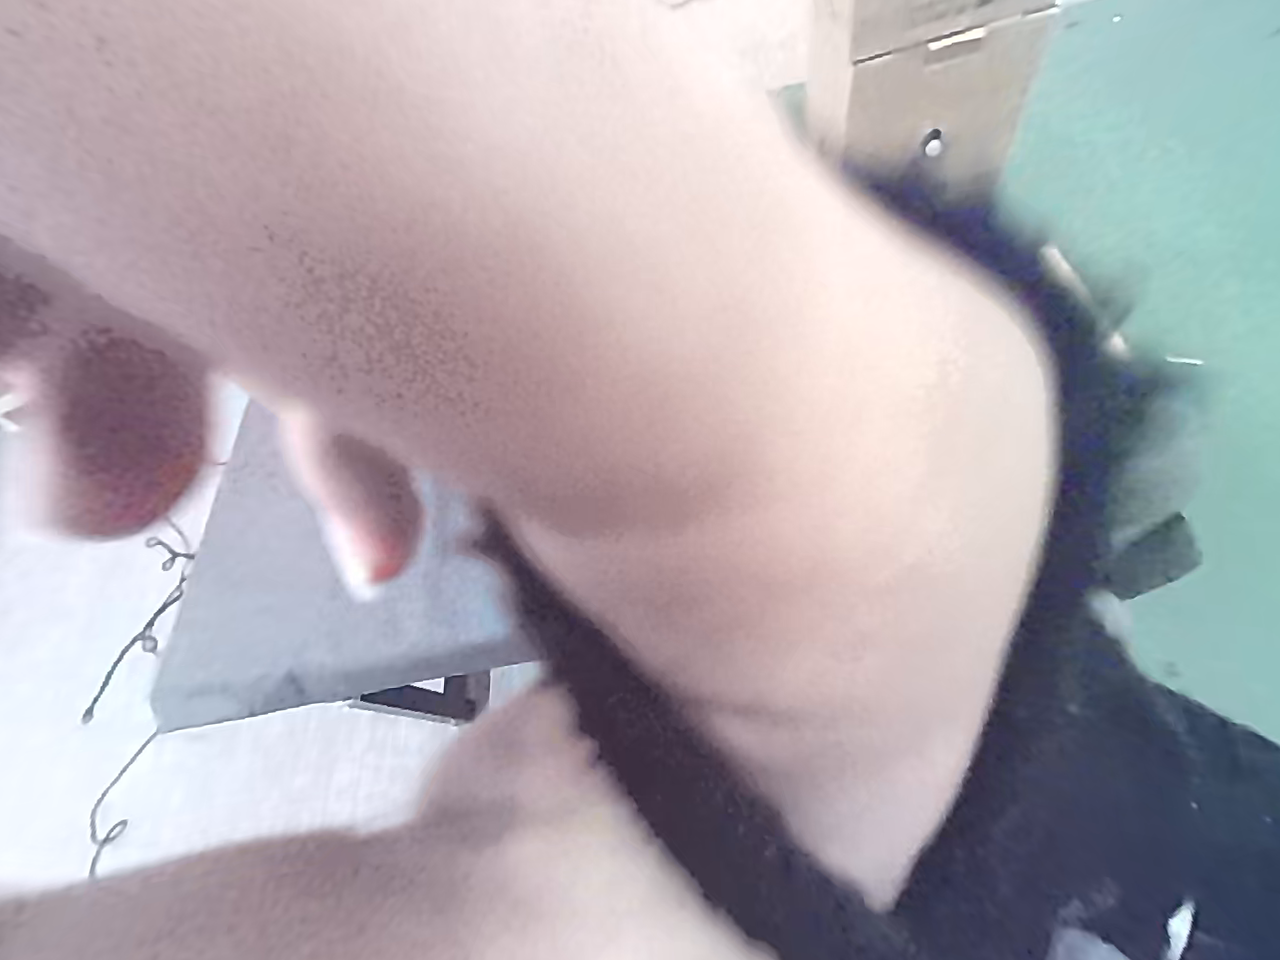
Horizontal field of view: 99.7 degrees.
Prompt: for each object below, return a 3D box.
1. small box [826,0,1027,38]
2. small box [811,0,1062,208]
[{"bbox_3d":[0.233,-0.482,0.413,0.168,0.176,0.179,-10,61,9],"label":"small box"},{"bbox_3d":[0.277,-0.409,0.555,0.168,0.176,0.179,-9,62,10],"label":"small box"}]
